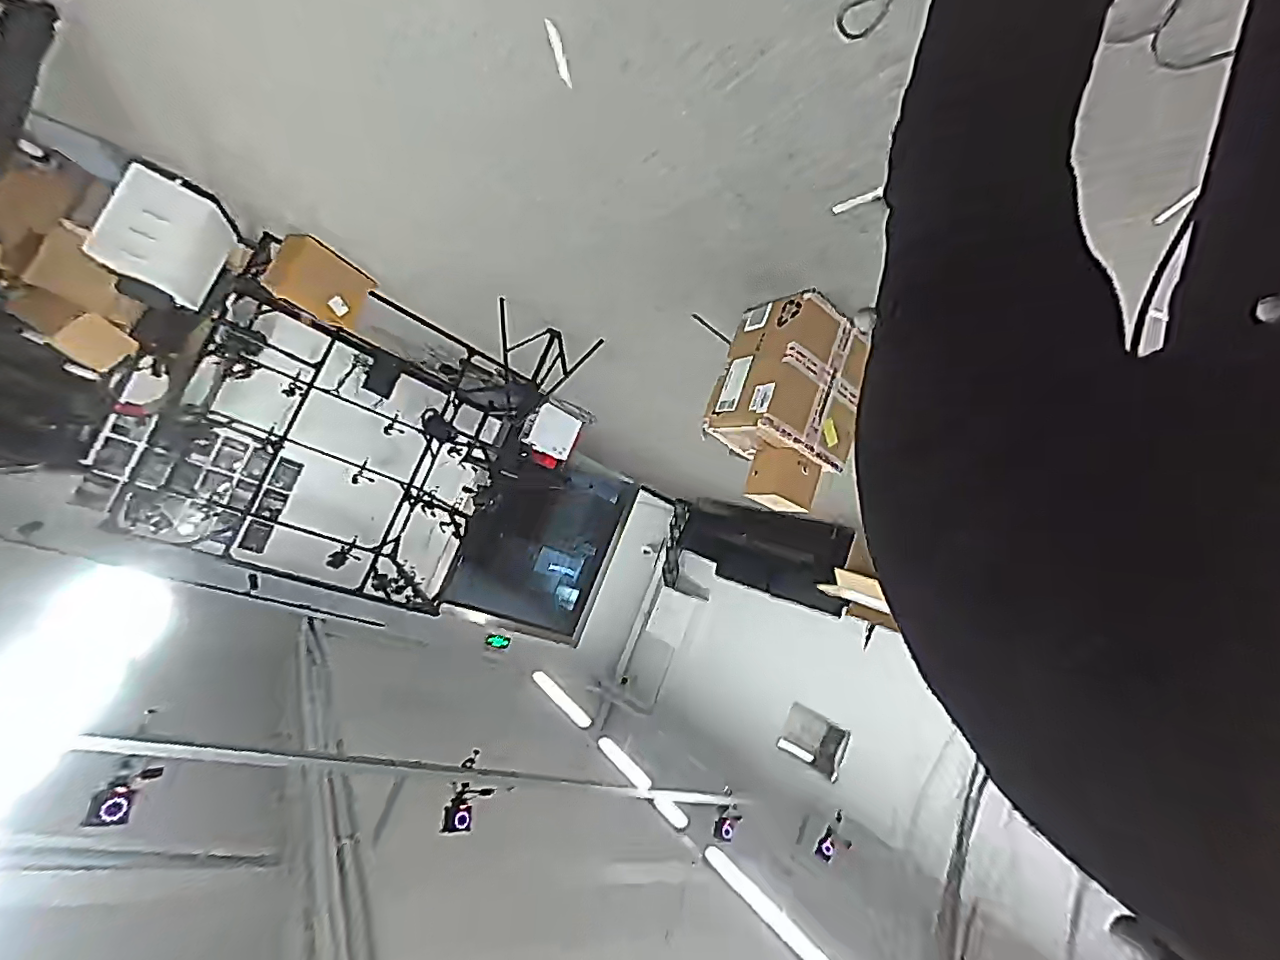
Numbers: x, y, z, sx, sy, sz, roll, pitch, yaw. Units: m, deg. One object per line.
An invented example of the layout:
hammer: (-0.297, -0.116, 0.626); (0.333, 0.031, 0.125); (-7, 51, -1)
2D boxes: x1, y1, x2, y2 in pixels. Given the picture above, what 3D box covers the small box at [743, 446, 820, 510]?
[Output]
small box: (0.493, -0.006, 1.871); (0.168, 0.176, 0.179); (24, 168, -22)
